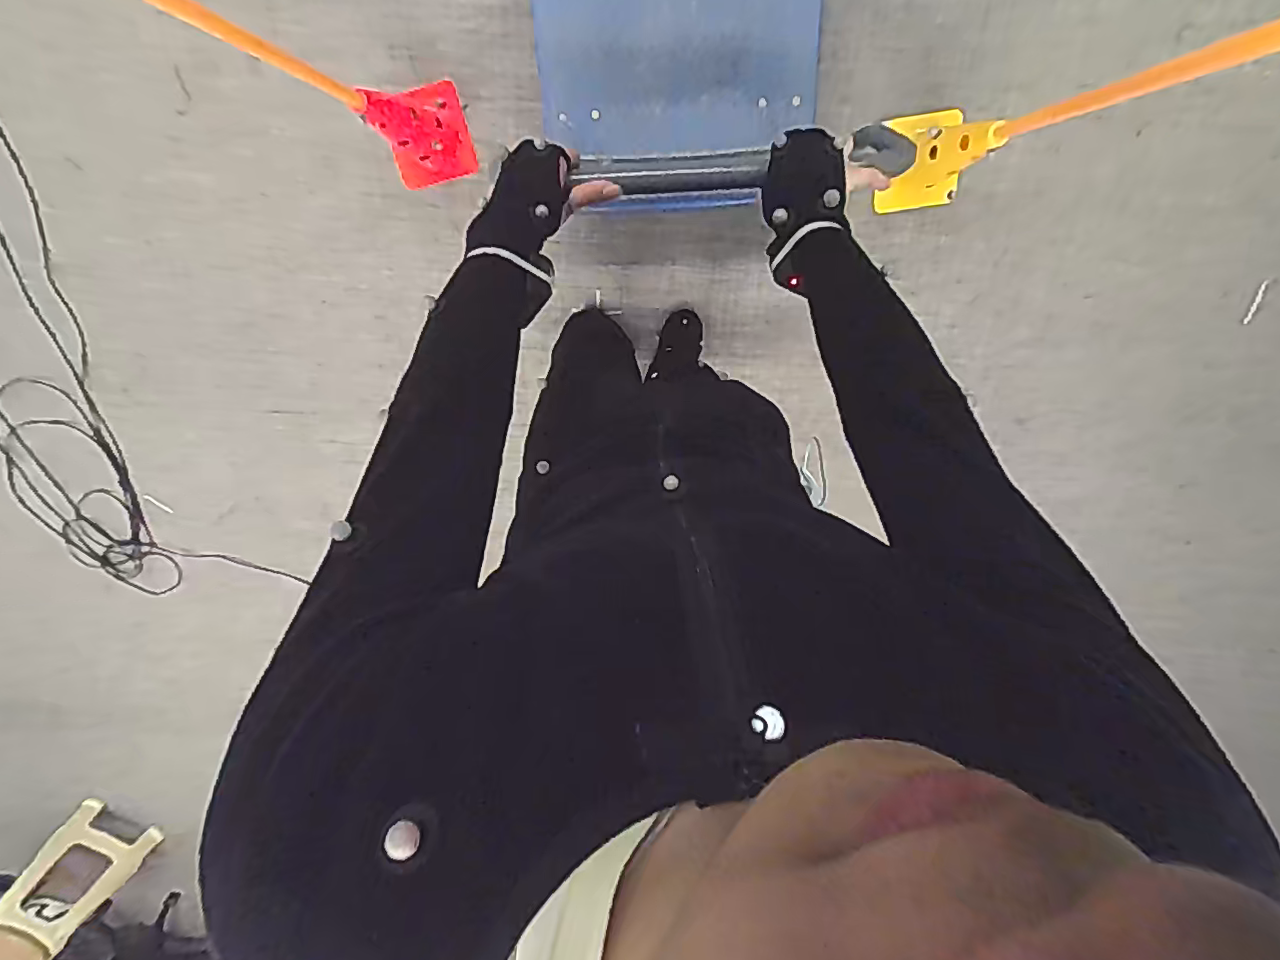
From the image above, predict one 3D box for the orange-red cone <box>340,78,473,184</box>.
[{"bbox_3d":[-0.525,-0.772,1.149,0.199,0.360,0.198,-9,112,7],"label":"orange-red cone"}]
